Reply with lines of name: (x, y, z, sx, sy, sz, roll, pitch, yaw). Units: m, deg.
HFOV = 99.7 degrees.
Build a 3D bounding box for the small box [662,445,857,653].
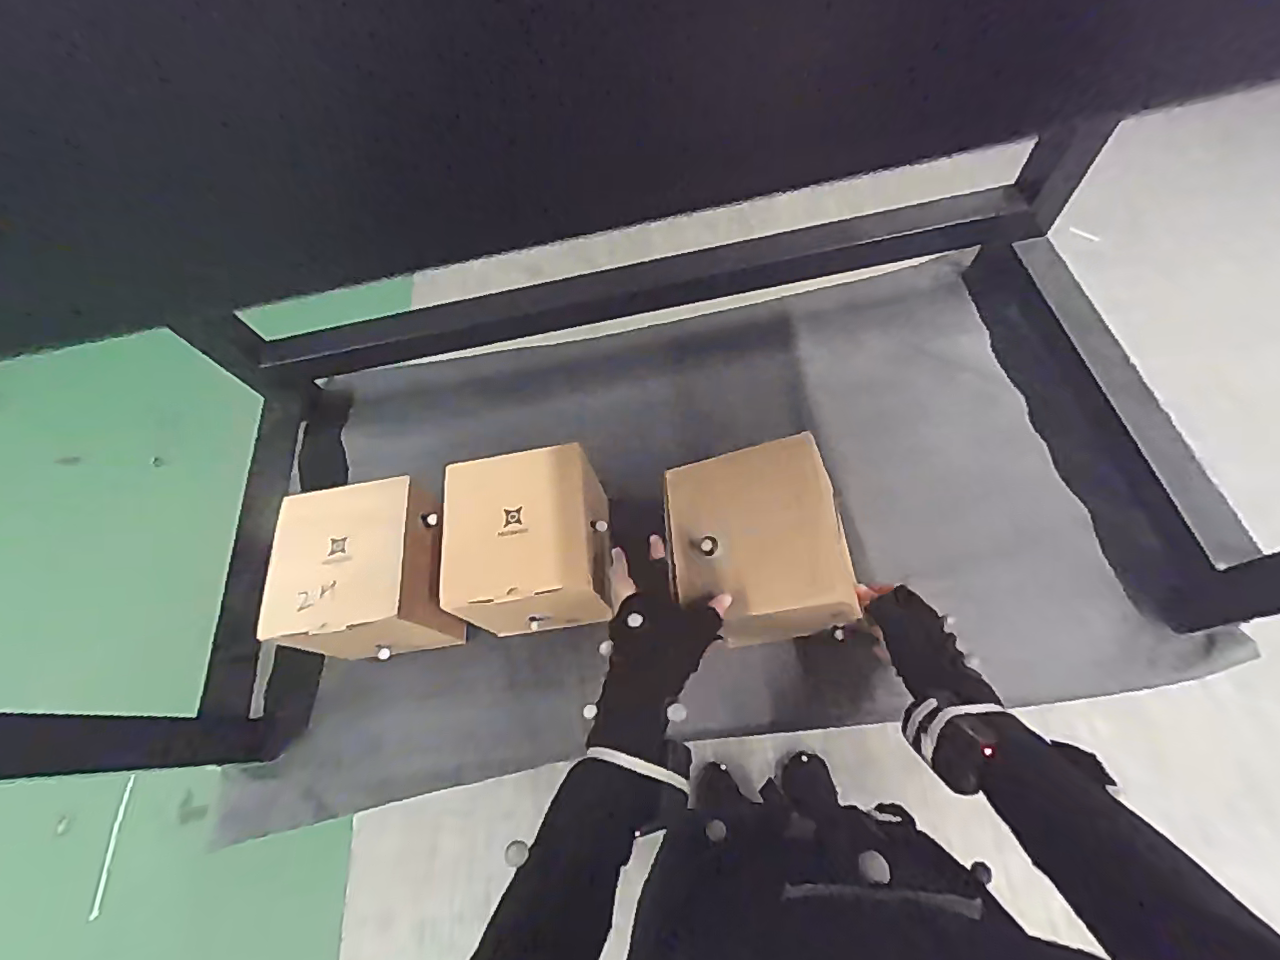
small box: (0.139, 0.085, 0.607, 0.176, 0.168, 0.179, -15, 61, 20)
